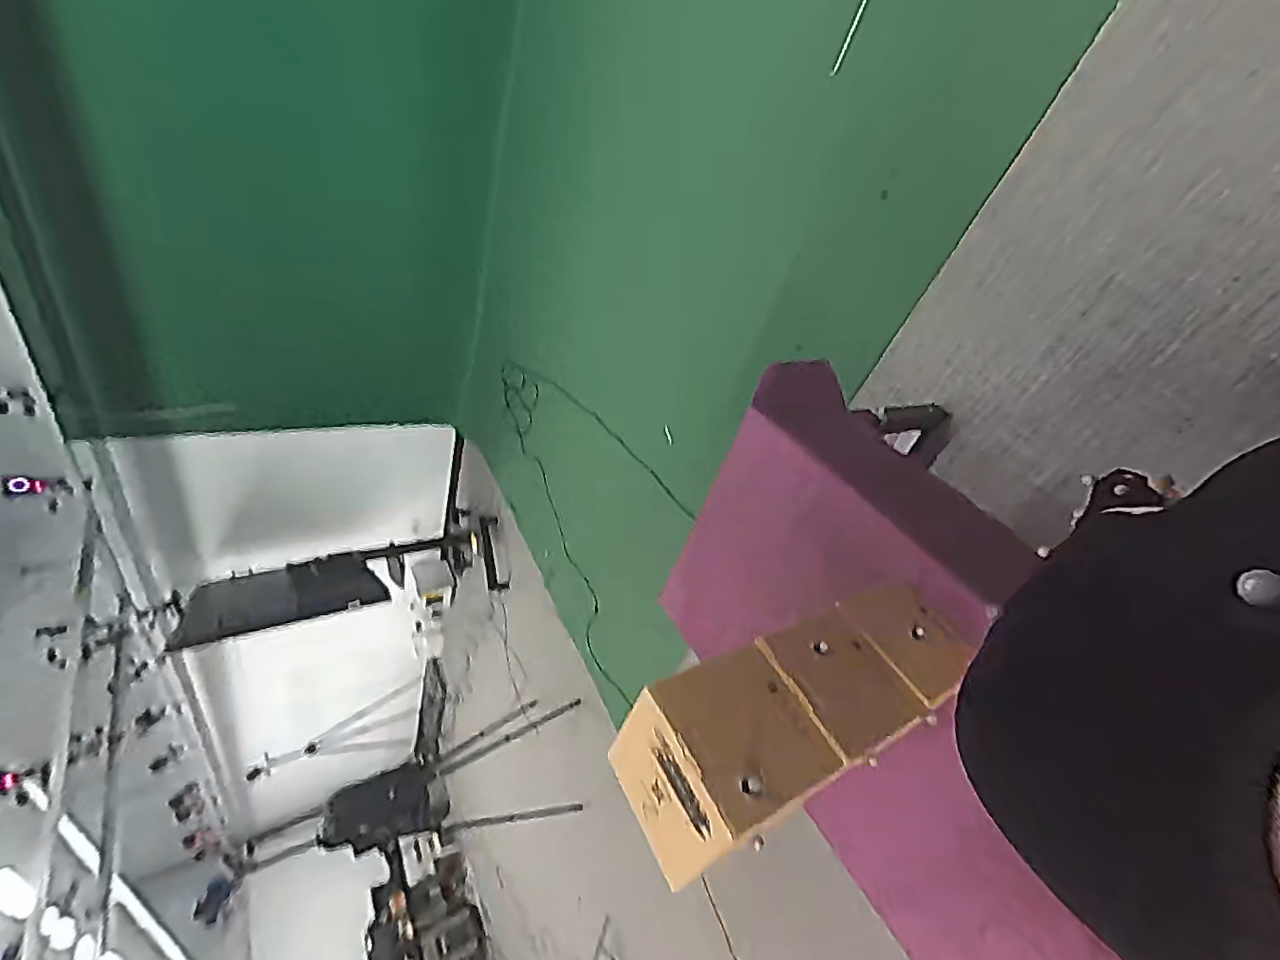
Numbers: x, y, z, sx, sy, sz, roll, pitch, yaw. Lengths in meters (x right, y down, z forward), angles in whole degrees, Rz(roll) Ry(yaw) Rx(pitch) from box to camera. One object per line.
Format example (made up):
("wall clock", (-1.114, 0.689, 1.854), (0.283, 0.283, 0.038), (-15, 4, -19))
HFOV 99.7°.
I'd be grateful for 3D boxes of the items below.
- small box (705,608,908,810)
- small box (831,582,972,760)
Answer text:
("small box", (0.226, 0.299, 0.732), (0.168, 0.176, 0.179), (55, 137, 35))
("small box", (0.361, 0.280, 0.821), (0.168, 0.176, 0.179), (53, 136, 37))
